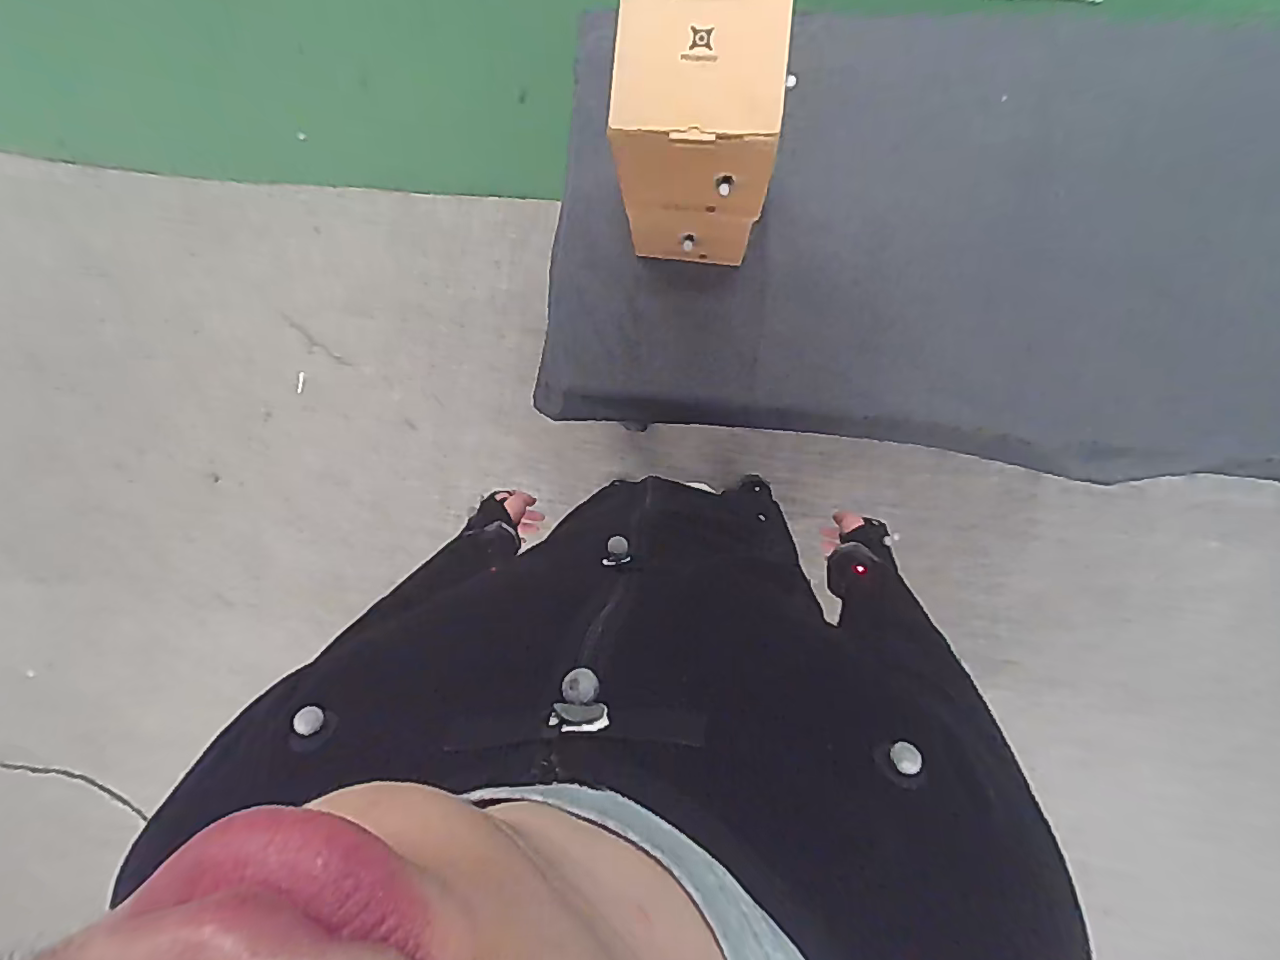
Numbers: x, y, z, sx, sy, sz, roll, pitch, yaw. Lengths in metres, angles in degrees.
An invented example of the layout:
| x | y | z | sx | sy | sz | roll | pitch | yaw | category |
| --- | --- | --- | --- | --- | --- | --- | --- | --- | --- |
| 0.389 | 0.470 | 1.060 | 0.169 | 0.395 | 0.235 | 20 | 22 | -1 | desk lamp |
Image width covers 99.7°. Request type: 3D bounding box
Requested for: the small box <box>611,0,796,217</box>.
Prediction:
| x | y | z | sx | sy | sz | roll | pitch | yaw | category |
| --- | --- | --- | --- | --- | --- | --- | --- | --- | --- |
| 0.067 | -0.412 | 0.590 | 0.168 | 0.176 | 0.179 | 5 | 89 | 4 | small box |

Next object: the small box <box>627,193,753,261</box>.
| x | y | z | sx | sy | sz | roll | pitch | yaw | category |
| --- | --- | --- | --- | --- | --- | --- | --- | --- | --- |
| 0.082 | -0.425 | 0.753 | 0.168 | 0.176 | 0.179 | 7 | 91 | 4 | small box |
